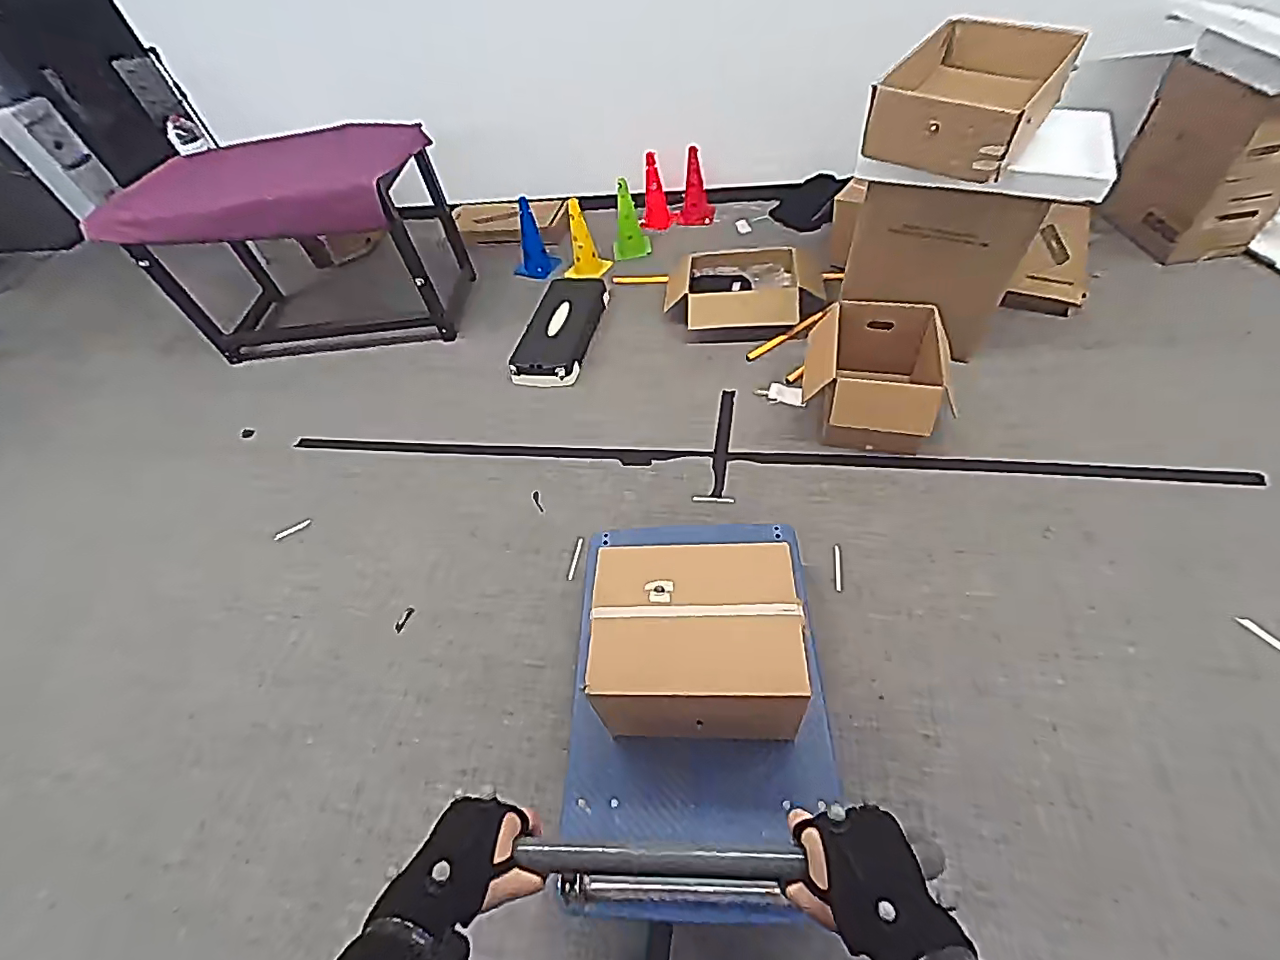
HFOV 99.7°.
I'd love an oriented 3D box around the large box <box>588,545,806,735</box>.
[{"bbox_3d":[0.125,0.361,1.185,0.408,0.320,0.320,-3,50,8],"label":"large box"}]
